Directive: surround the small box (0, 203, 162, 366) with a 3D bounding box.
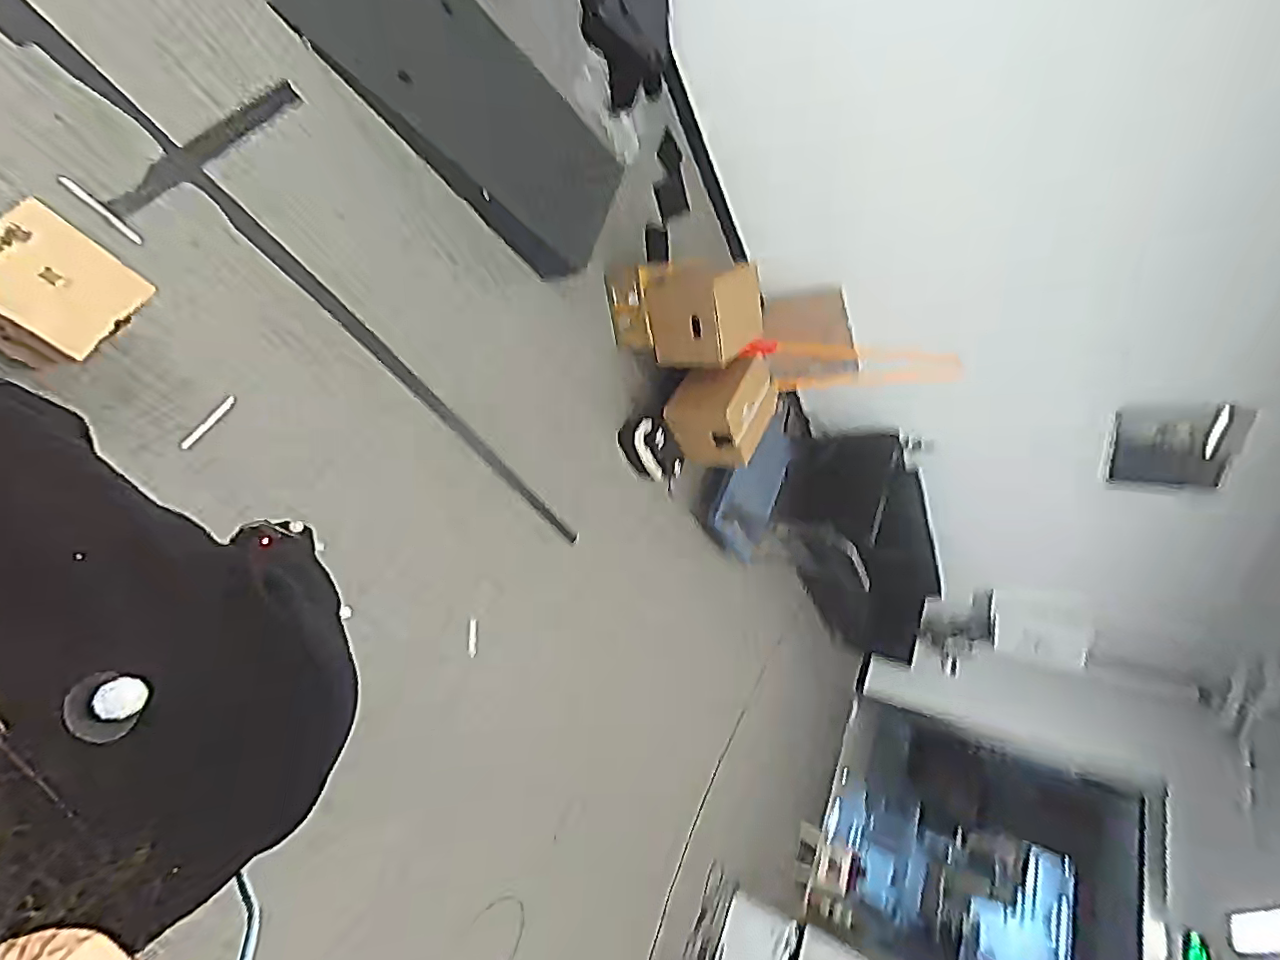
[{"bbox_3d":[-0.935,-0.302,0.862,0.179,0.176,0.168,52,55,-44],"label":"small box"}]

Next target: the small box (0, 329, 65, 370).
[{"bbox_3d":[-1.065,-0.311,0.963,0.179,0.176,0.168,-61,138,-28],"label":"small box"}]
